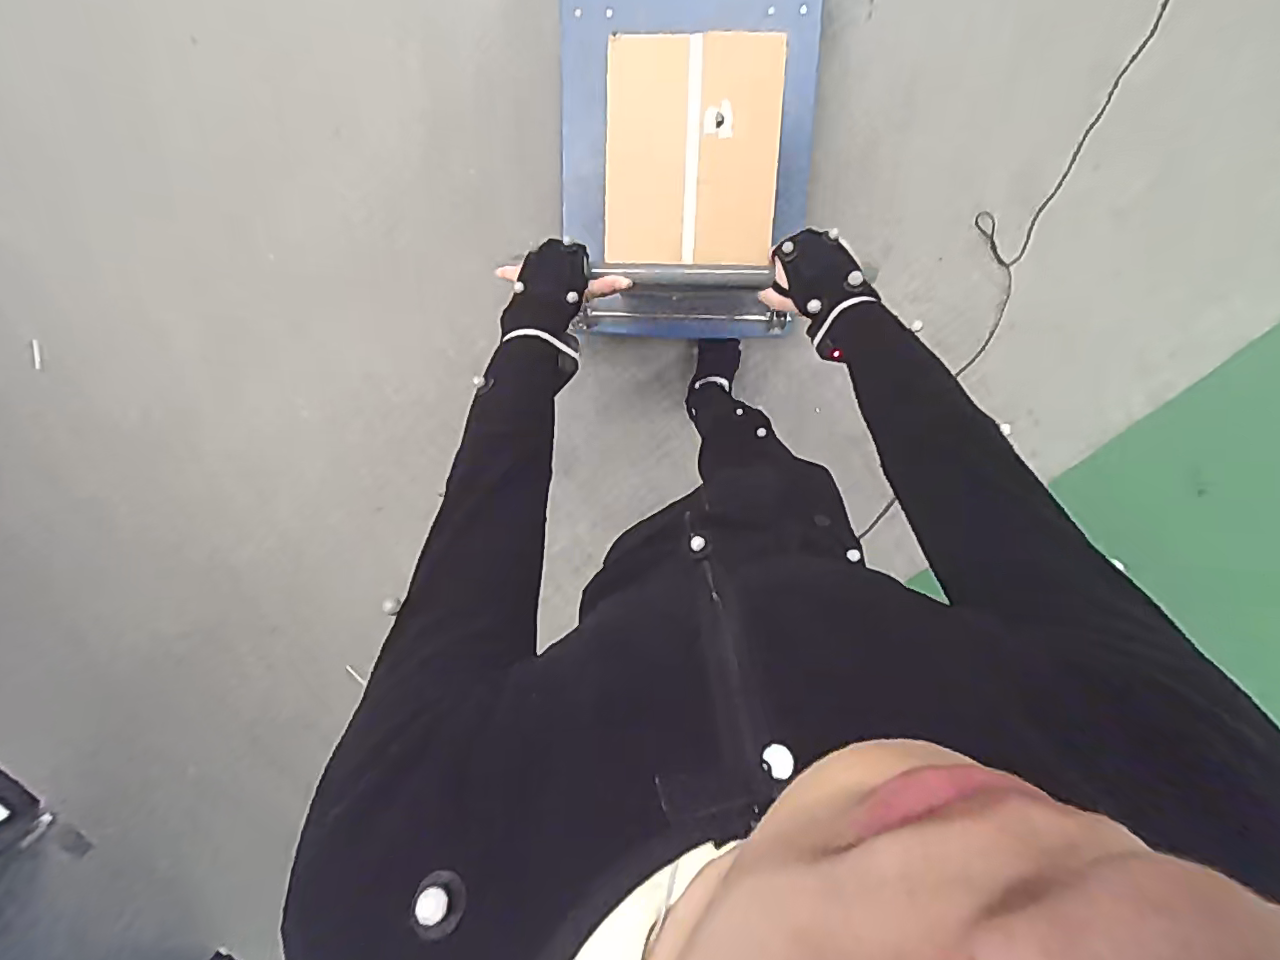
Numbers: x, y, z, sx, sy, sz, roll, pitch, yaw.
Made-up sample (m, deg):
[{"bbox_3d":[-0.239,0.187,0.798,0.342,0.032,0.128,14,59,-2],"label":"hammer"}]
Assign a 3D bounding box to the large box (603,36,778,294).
[{"bbox_3d":[0.099,-0.621,1.145,0.320,0.320,0.408,3,103,3],"label":"large box"}]
